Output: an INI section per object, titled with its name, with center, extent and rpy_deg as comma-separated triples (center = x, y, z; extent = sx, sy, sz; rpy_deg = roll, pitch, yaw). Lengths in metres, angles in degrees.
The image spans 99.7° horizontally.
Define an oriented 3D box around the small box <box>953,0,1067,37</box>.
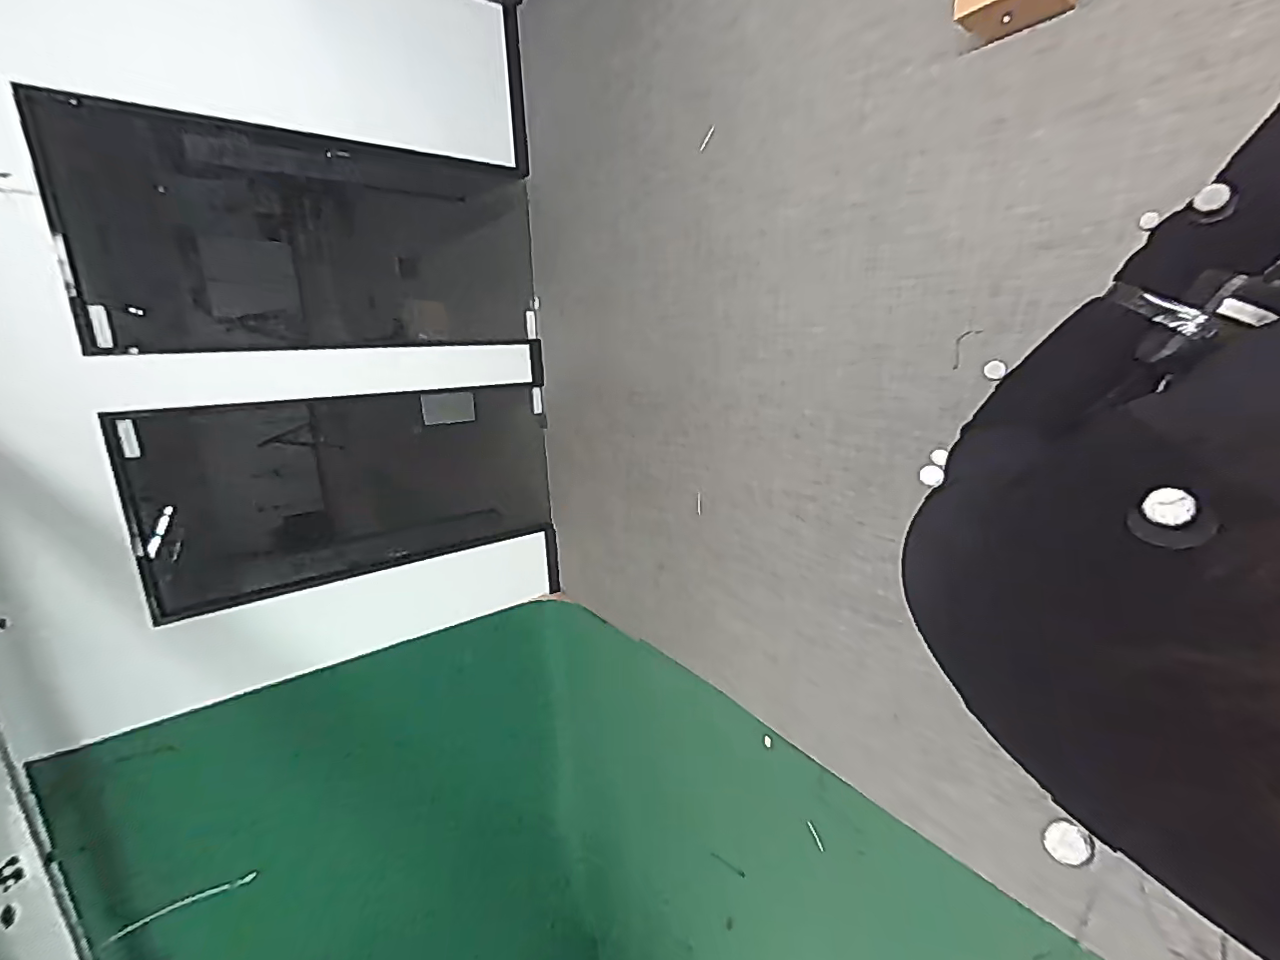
[small box]
center = 0.792, -1.072, 1.125
extent = 0.179, 0.176, 0.168
rpy_deg = 19, 115, 52
